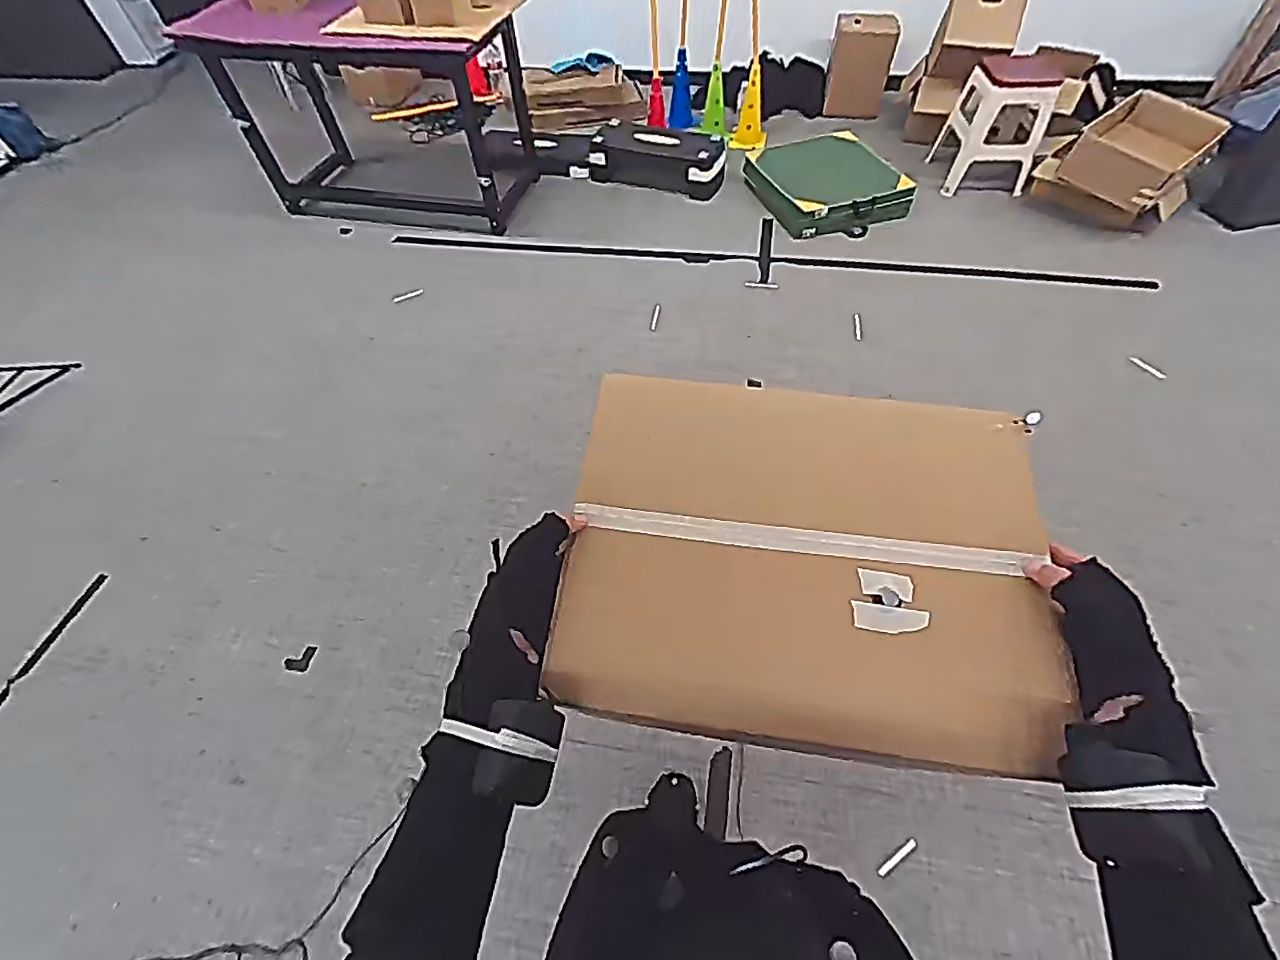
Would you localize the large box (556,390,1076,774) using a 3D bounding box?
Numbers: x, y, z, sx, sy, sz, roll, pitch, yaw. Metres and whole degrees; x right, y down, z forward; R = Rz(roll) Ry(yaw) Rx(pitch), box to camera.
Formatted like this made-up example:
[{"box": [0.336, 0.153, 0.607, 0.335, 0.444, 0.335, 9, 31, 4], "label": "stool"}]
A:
[{"box": [0.148, 0.126, 0.611, 0.408, 0.320, 0.320, 6, 66, 5], "label": "large box"}]
